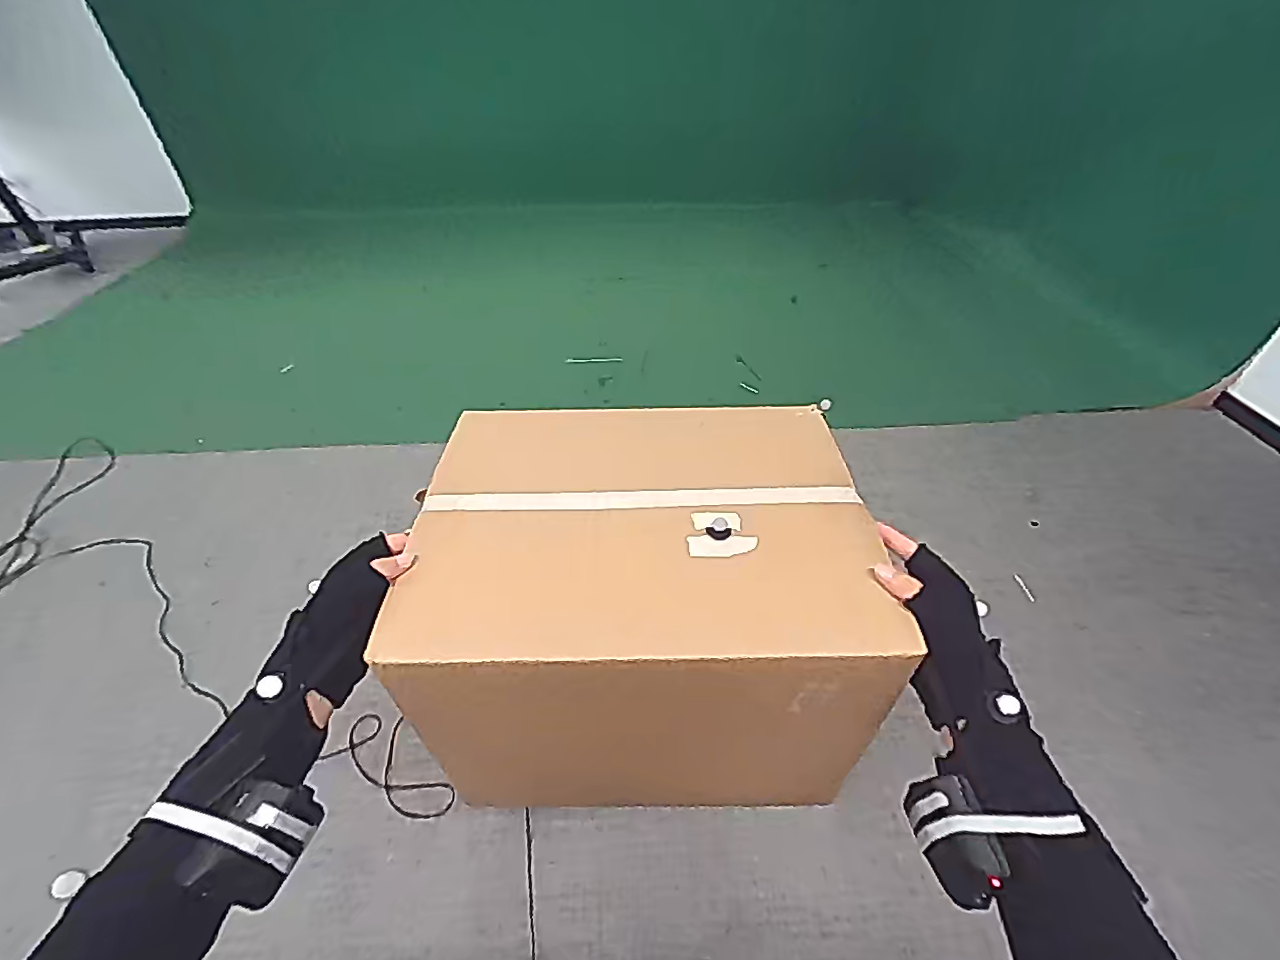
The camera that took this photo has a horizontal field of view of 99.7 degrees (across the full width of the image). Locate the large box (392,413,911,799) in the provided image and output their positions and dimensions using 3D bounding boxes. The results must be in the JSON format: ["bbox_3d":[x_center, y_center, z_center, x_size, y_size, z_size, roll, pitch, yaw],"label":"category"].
[{"bbox_3d":[0.006,0.137,0.614,0.408,0.320,0.320,0,42,0],"label":"large box"}]
